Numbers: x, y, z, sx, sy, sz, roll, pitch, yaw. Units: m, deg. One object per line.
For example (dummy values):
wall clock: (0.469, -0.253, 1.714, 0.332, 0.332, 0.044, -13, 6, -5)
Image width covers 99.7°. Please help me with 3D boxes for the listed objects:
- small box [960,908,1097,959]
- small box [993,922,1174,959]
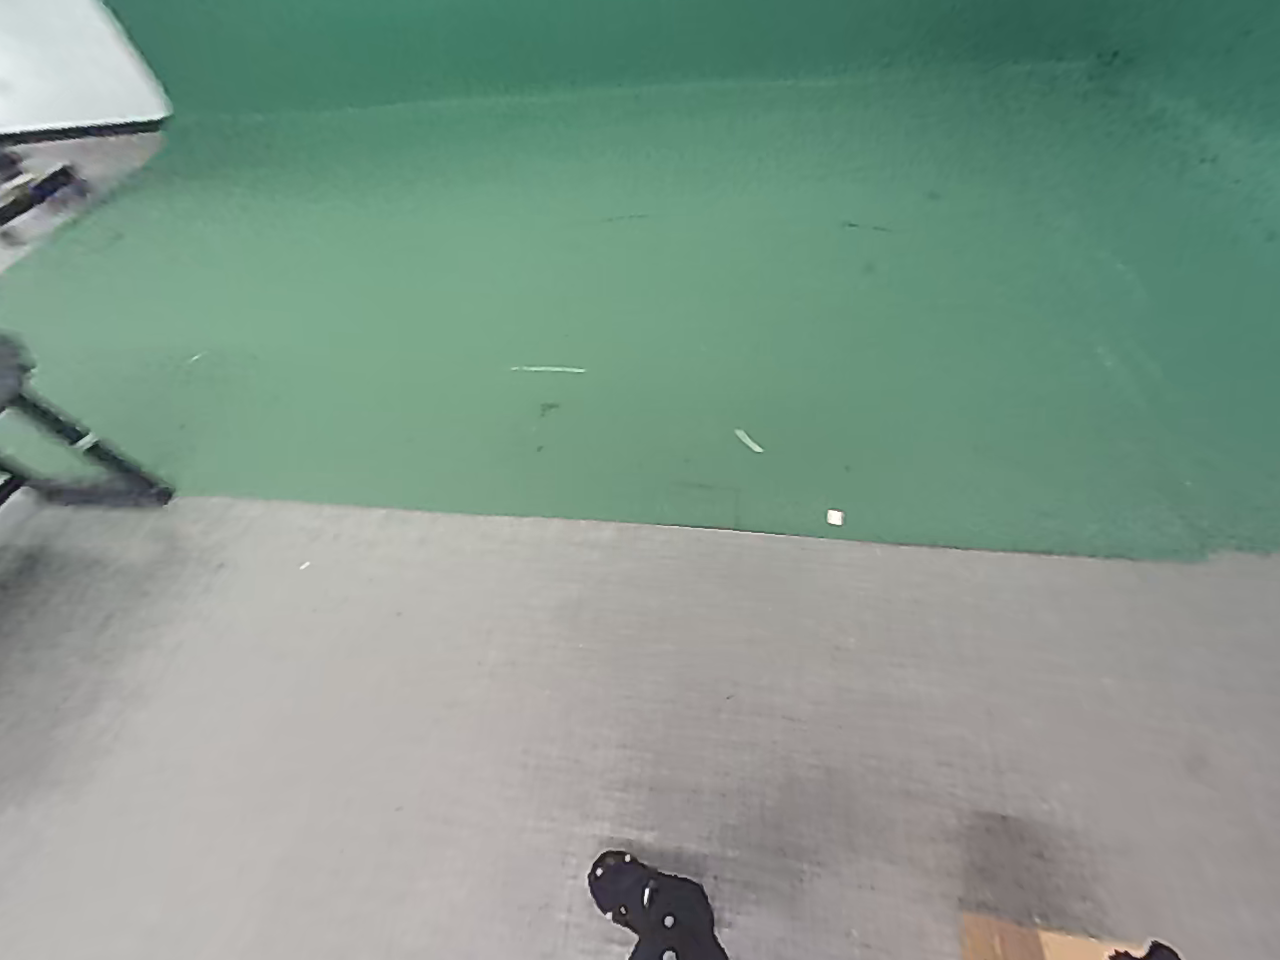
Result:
small box: (0.671, 0.862, 0.927, 0.168, 0.176, 0.179, 5, 57, 12)
small box: (0.659, 0.770, 0.793, 0.179, 0.176, 0.168, 3, 54, 12)
